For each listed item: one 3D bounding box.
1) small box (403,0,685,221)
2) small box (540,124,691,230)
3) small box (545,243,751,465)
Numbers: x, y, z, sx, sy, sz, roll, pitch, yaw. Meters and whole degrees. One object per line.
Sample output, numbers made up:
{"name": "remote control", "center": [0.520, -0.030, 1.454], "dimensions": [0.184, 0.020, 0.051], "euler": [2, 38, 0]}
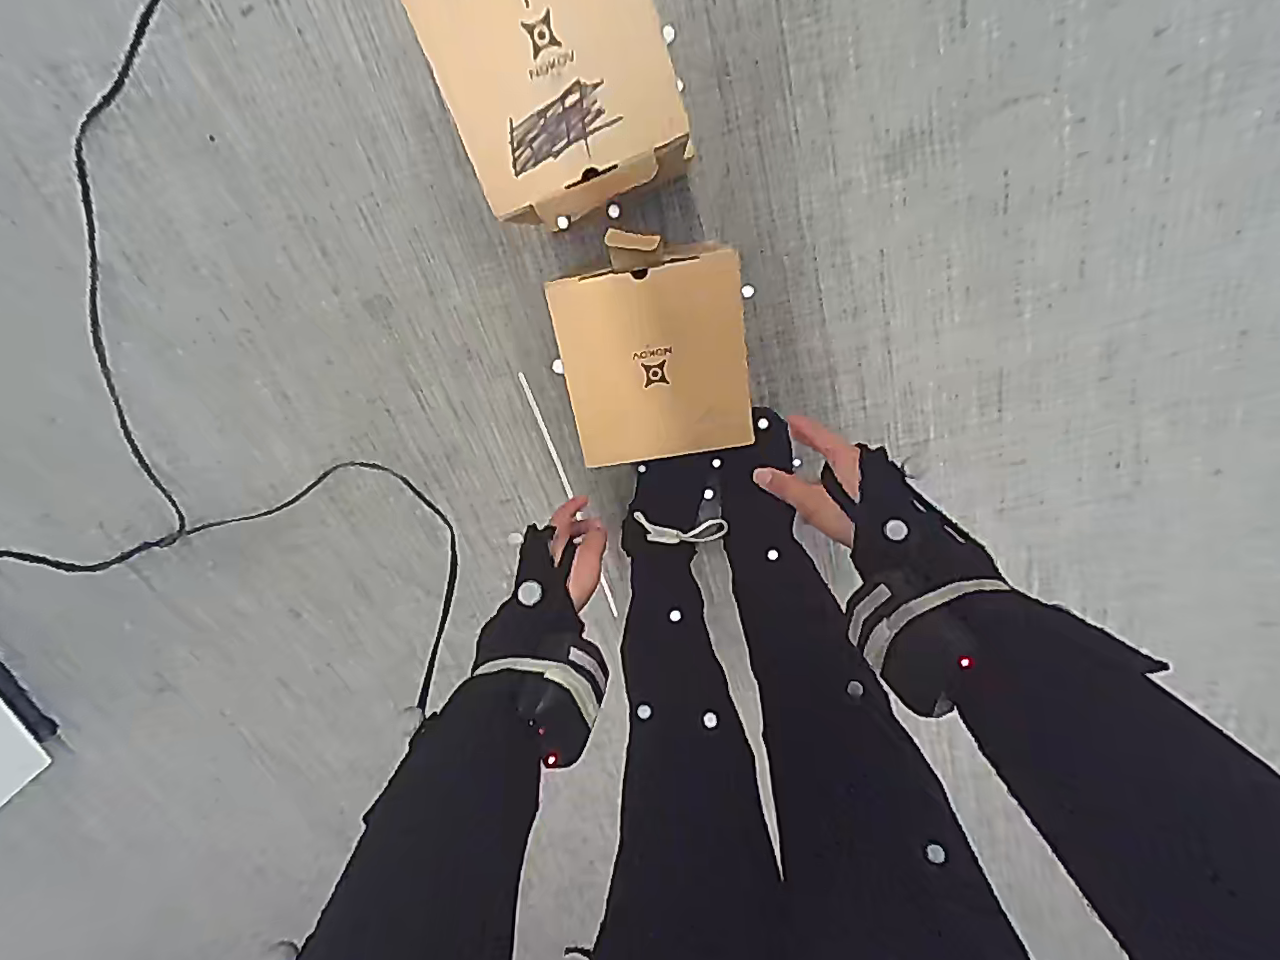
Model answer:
{"name": "small box", "center": [-0.066, -0.339, 0.461], "dimensions": [0.168, 0.176, 0.179], "euler": [-18, 112, 9]}
{"name": "small box", "center": [-0.053, -0.400, 0.615], "dimensions": [0.179, 0.176, 0.168], "euler": [-23, 111, 12]}
{"name": "small box", "center": [0.017, -0.136, 0.557], "dimensions": [0.168, 0.176, 0.179], "euler": [-8, 114, 6]}
